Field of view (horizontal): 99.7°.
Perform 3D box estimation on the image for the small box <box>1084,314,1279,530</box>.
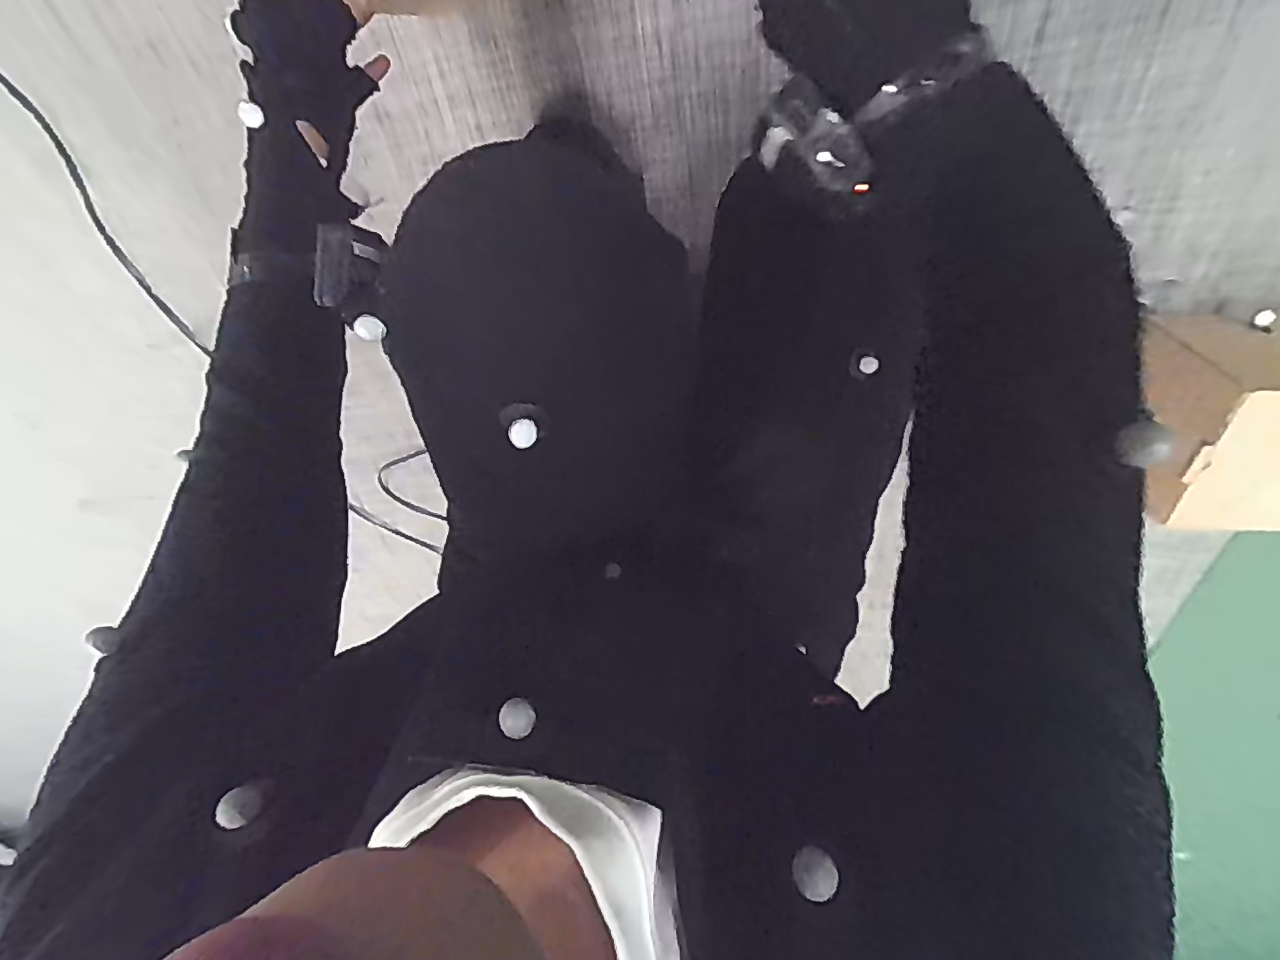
[{"bbox_3d":[0.628,-0.066,0.573,0.179,0.176,0.168,2,129,10],"label":"small box"}]
